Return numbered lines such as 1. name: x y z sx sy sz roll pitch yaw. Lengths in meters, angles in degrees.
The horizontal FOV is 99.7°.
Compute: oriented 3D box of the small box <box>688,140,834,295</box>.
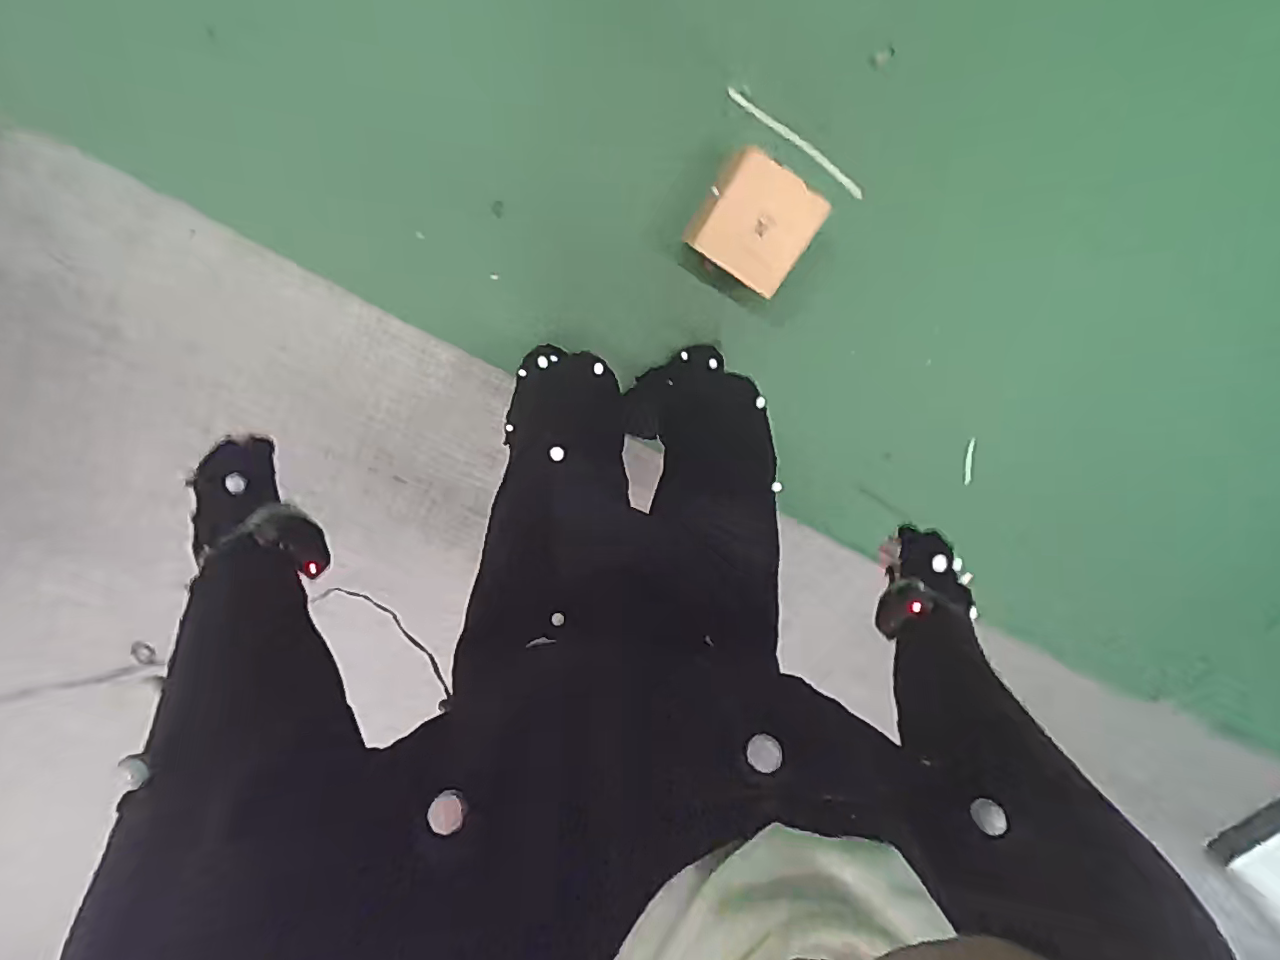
1. small box: 0.199 -0.458 0.954 0.168 0.176 0.179 31 112 -16
